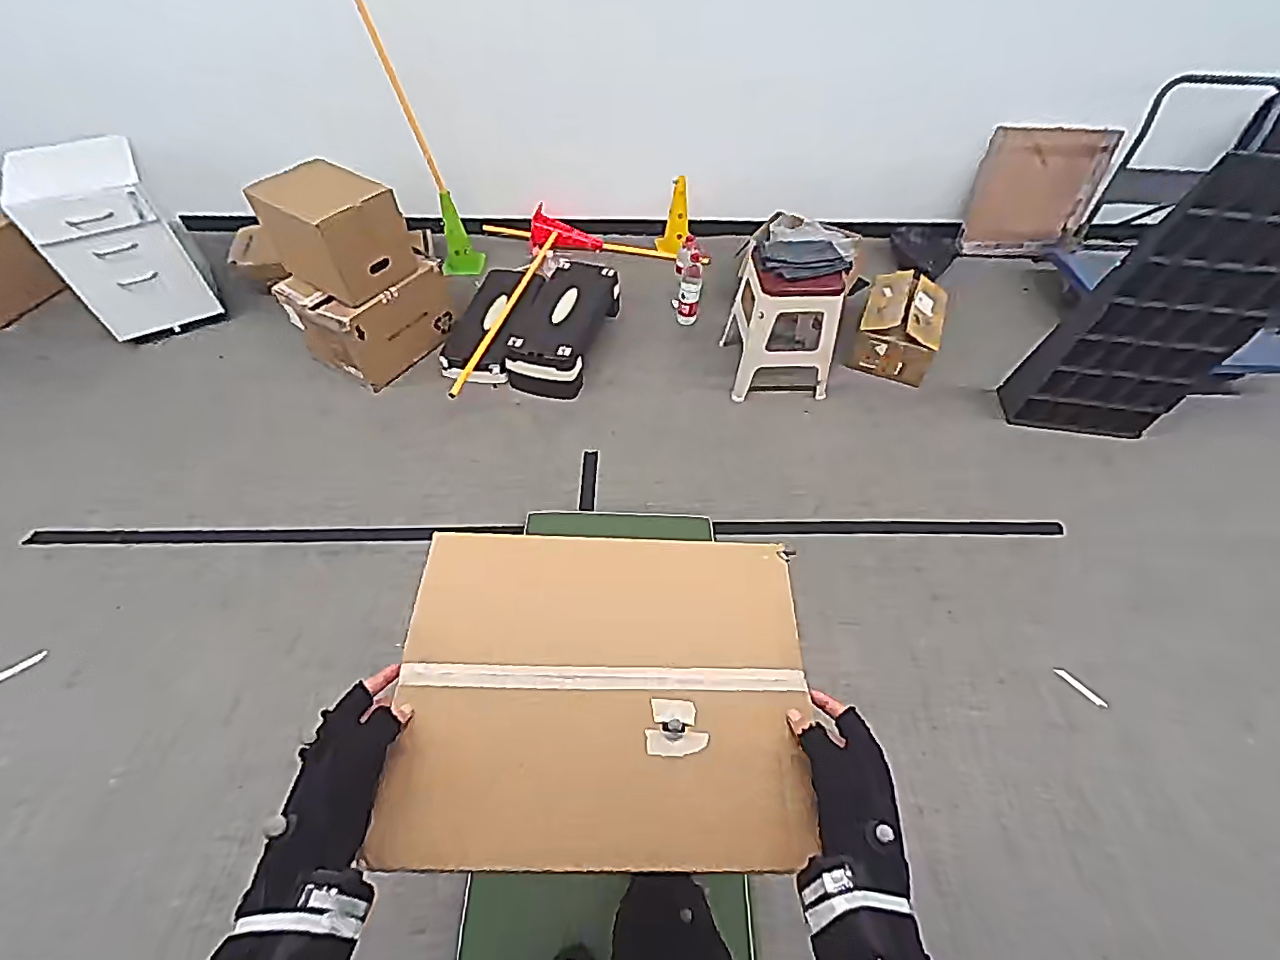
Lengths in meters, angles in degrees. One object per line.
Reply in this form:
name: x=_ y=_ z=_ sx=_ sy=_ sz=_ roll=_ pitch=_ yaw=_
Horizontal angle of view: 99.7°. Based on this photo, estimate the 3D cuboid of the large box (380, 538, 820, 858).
large box: x=-0.044 y=0.285 z=0.685 sx=0.408 sy=0.320 sz=0.320 roll=3 pitch=56 yaw=-4
